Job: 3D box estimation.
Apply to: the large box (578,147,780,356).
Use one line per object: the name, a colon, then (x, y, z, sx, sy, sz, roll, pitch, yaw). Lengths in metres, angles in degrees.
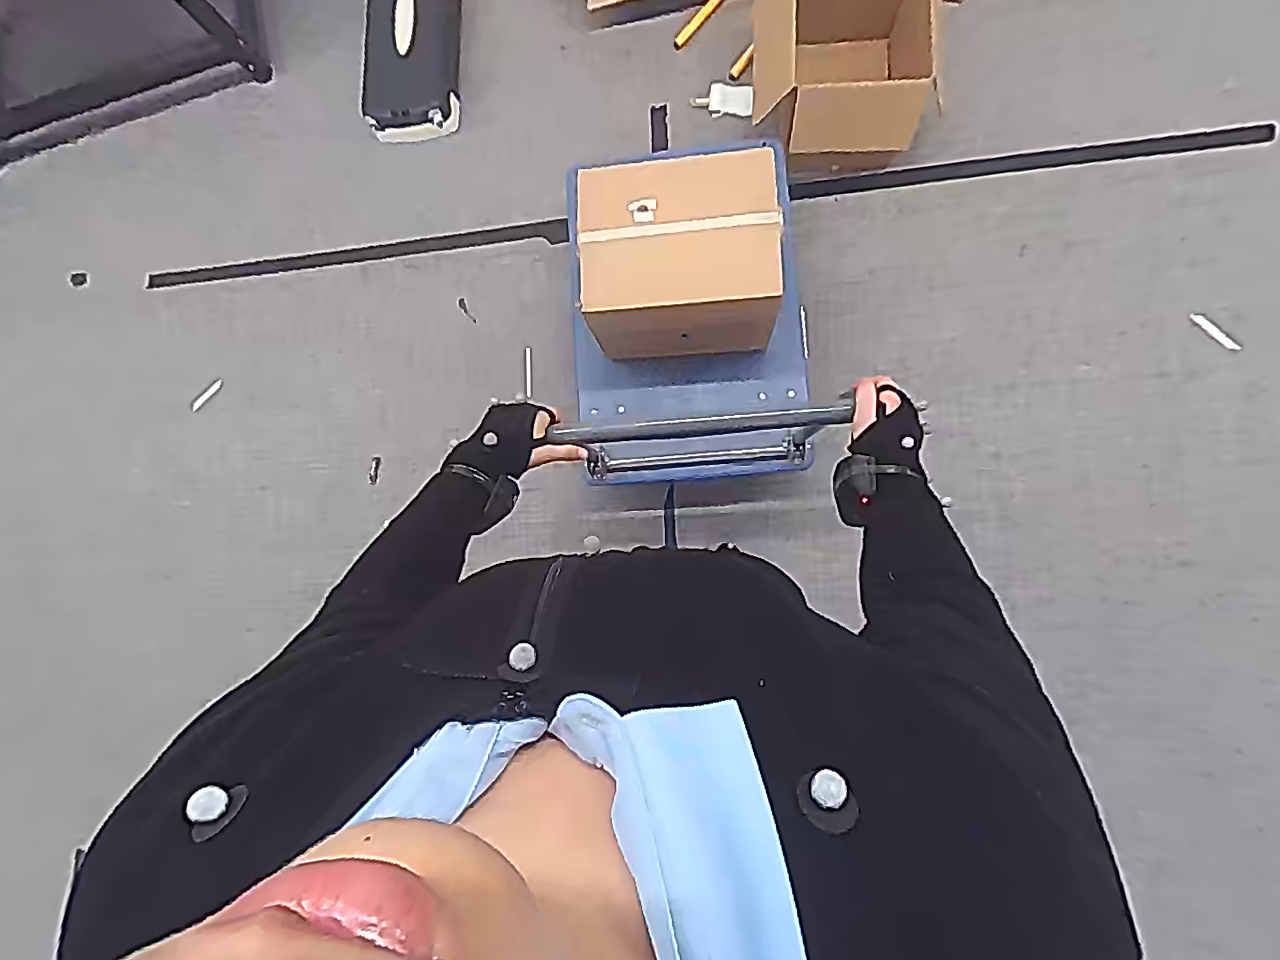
large box: (0.094, -0.494, 1.246, 0.408, 0.320, 0.320, -3, 83, 8)
